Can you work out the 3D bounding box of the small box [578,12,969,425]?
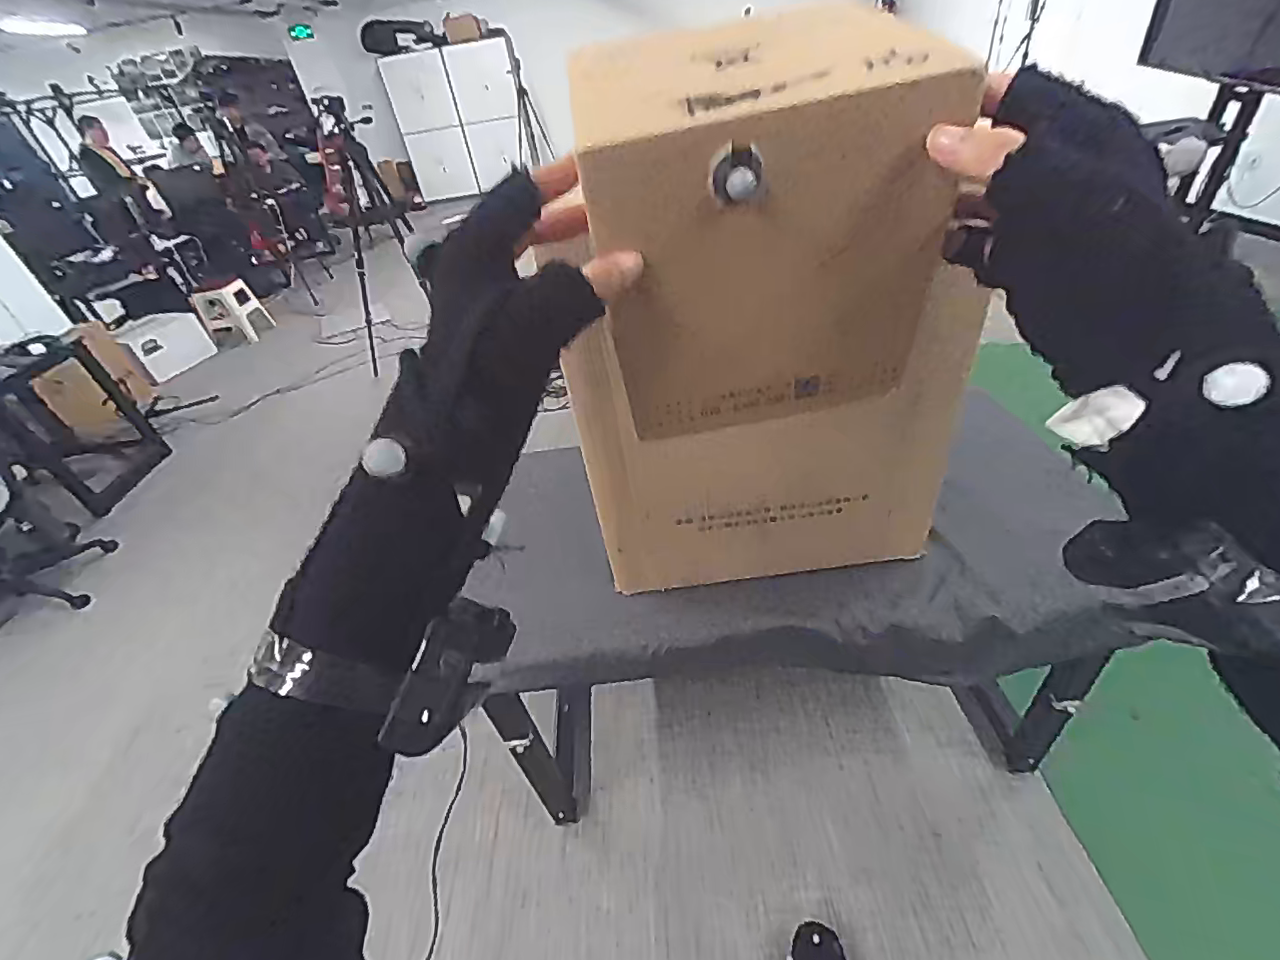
[{"bbox_3d":[0.059,-0.161,0.339,0.168,0.176,0.179,-10,47,3],"label":"small box"}]
